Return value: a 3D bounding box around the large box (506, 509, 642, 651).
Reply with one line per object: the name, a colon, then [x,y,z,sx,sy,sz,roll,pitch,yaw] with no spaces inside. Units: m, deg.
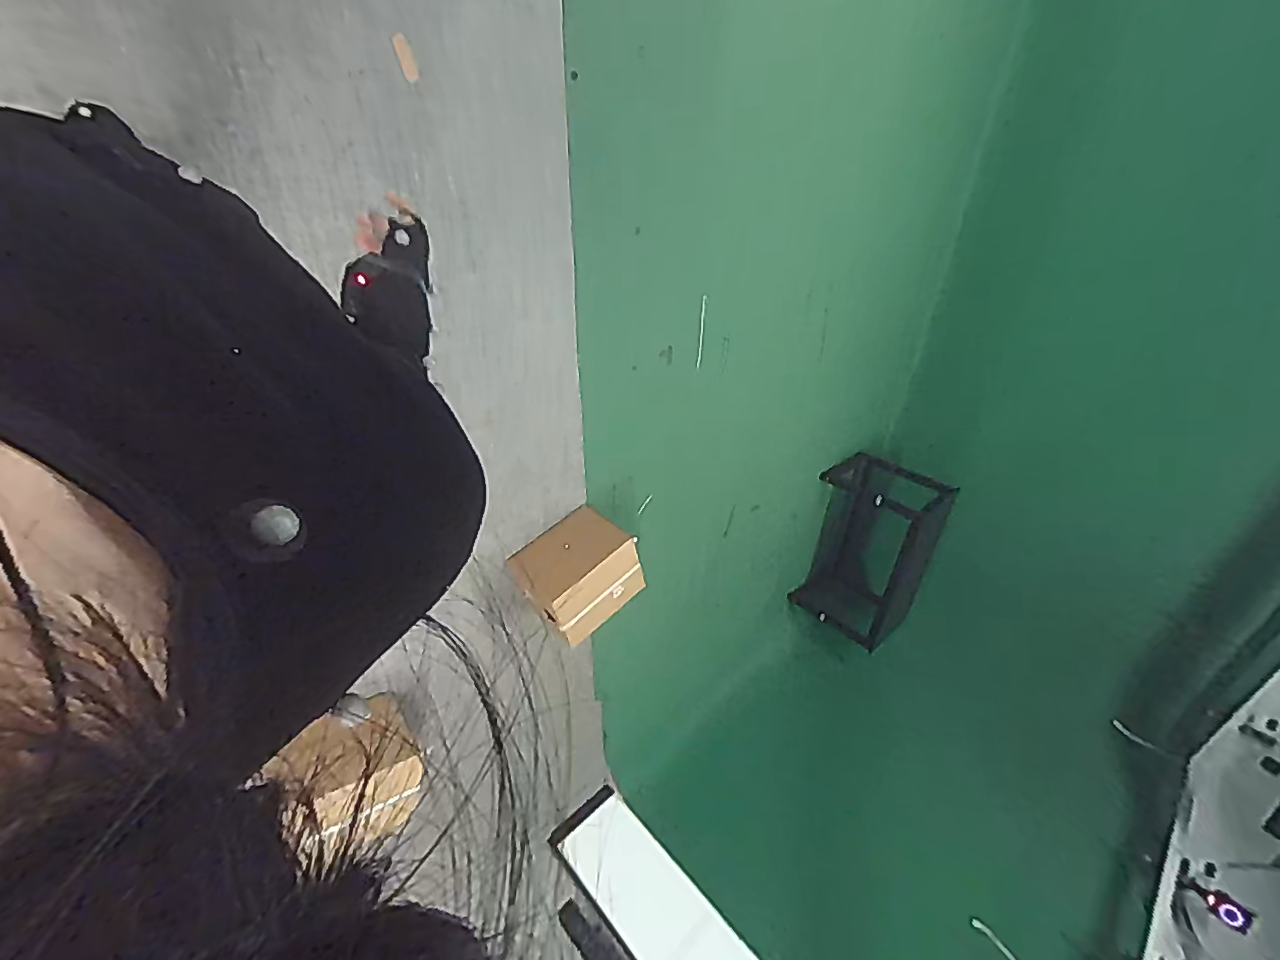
large box: [-0.257,0.391,2.178,0.408,0.320,0.320,-38,138,-27]
